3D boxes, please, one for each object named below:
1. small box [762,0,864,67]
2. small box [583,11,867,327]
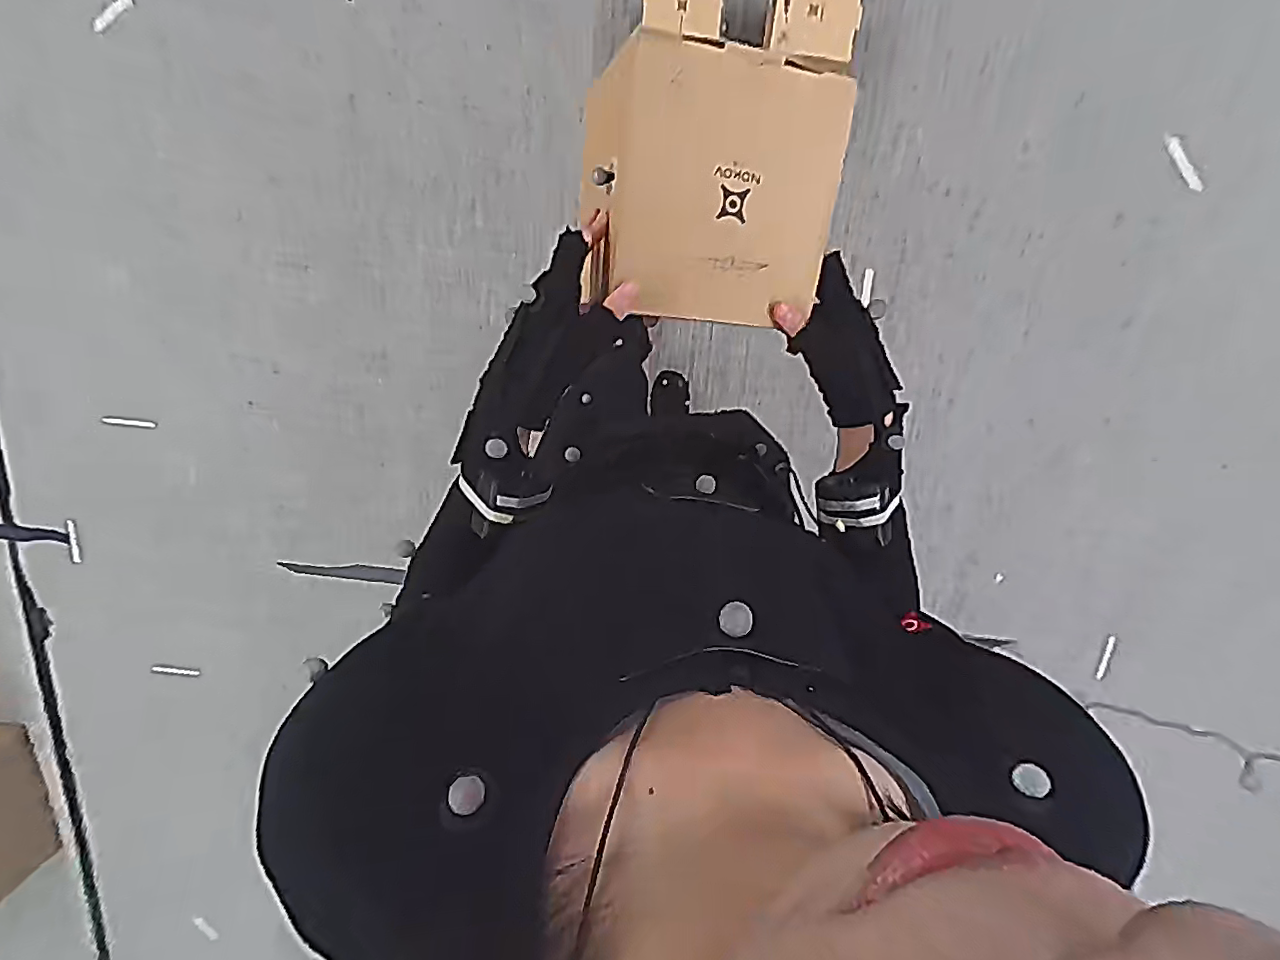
[{"bbox_3d":[0.369,-0.981,1.191,0.179,0.176,0.168,8,104,-1],"label":"small box"},{"bbox_3d":[0.050,-0.235,0.453,0.168,0.176,0.179,1,112,-16],"label":"small box"}]
